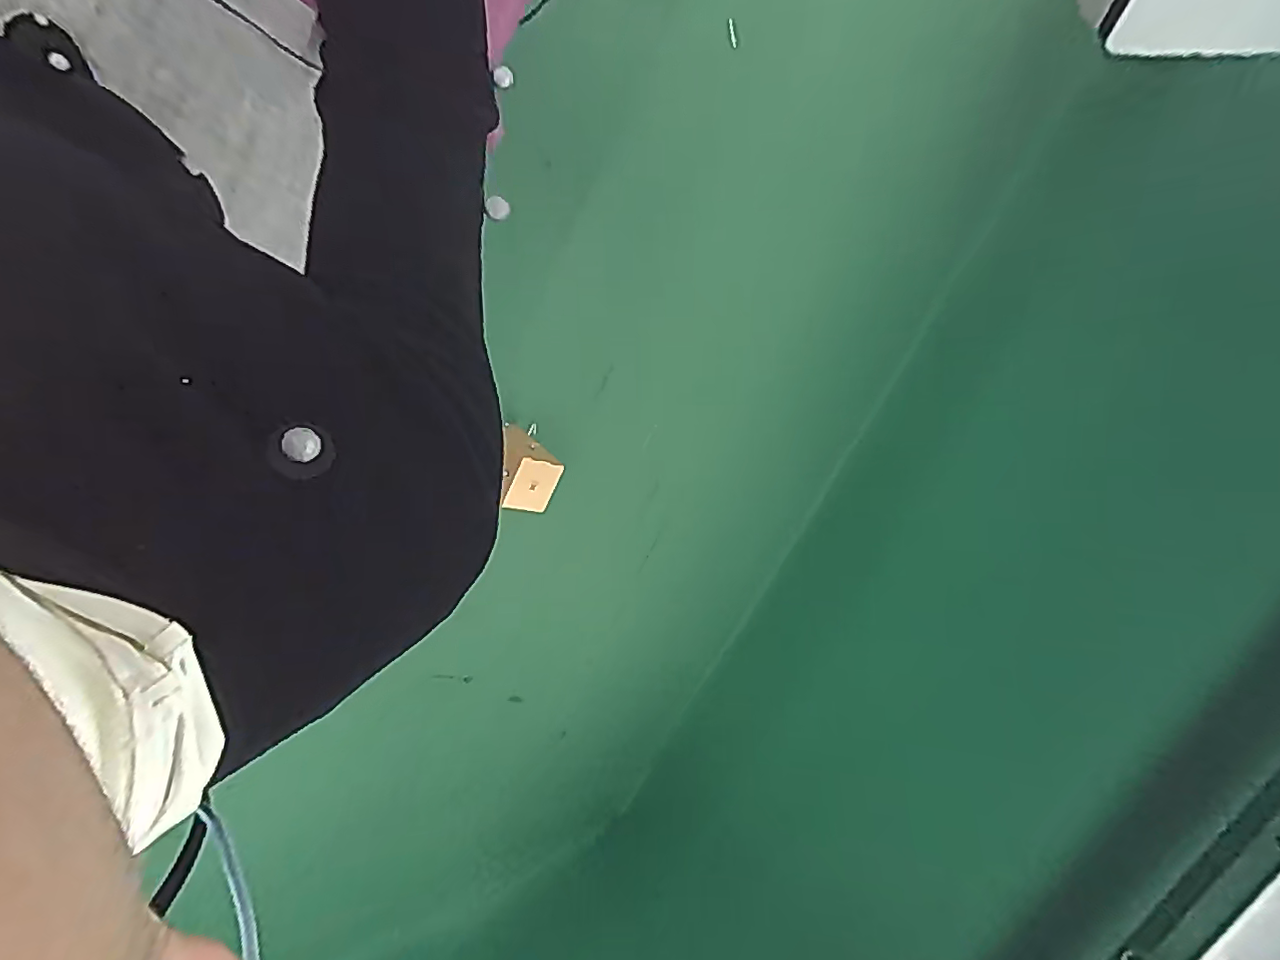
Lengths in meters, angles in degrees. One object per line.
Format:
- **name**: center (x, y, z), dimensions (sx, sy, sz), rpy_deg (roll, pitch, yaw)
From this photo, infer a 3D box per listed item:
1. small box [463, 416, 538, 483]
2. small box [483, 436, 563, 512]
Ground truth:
- **small box**: center (-0.486, -0.095, 1.861), dimensions (0.168, 0.176, 0.179), rpy_deg (11, 110, -47)
- **small box**: center (-0.388, -0.020, 1.756), dimensions (0.168, 0.176, 0.179), rpy_deg (14, 108, -47)
